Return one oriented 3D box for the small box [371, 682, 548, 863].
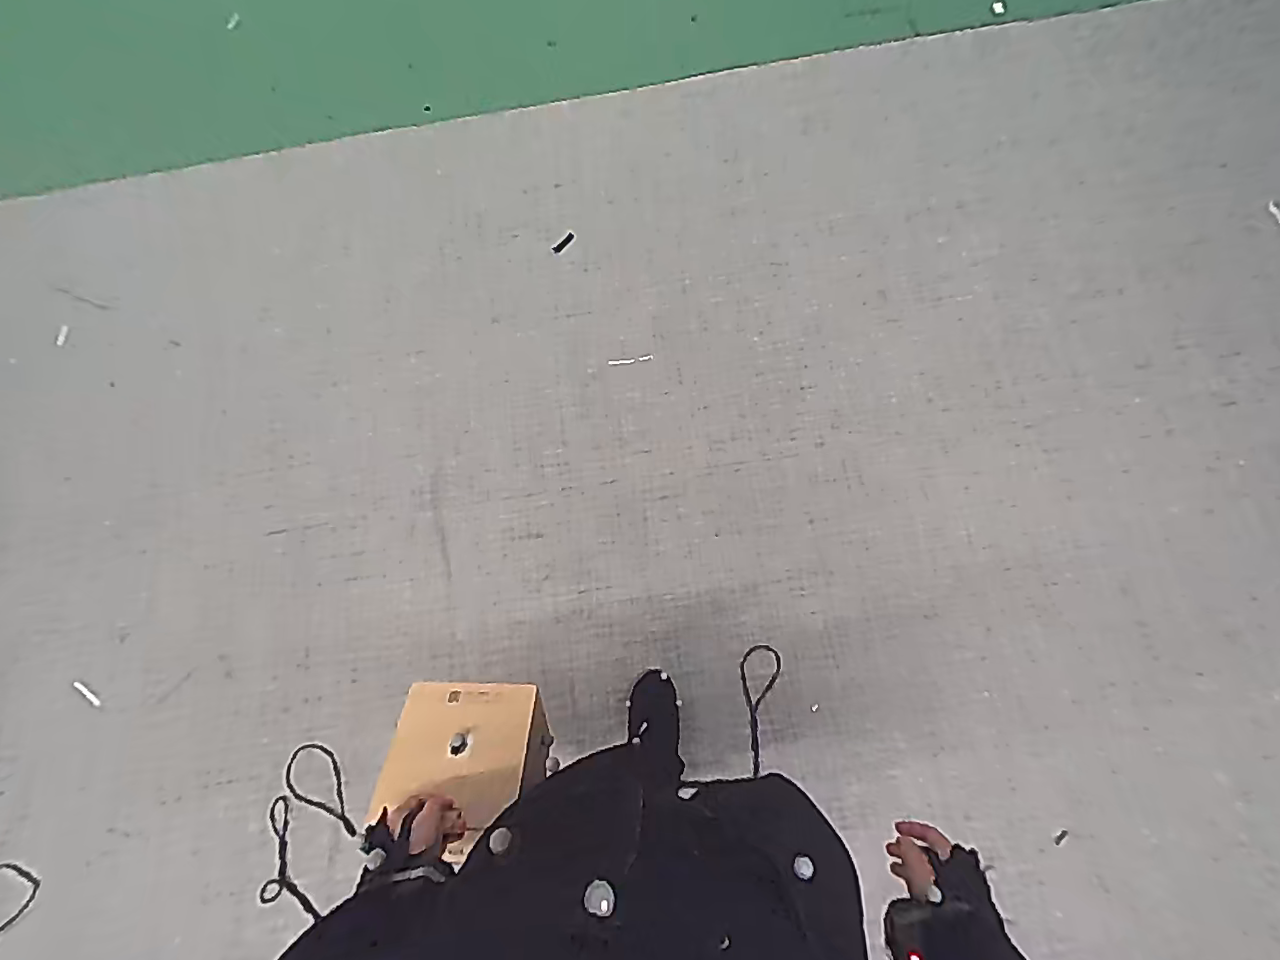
[{"bbox_3d":[-0.216,0.379,0.704,0.168,0.179,0.176,1,44,-1],"label":"small box"}]
